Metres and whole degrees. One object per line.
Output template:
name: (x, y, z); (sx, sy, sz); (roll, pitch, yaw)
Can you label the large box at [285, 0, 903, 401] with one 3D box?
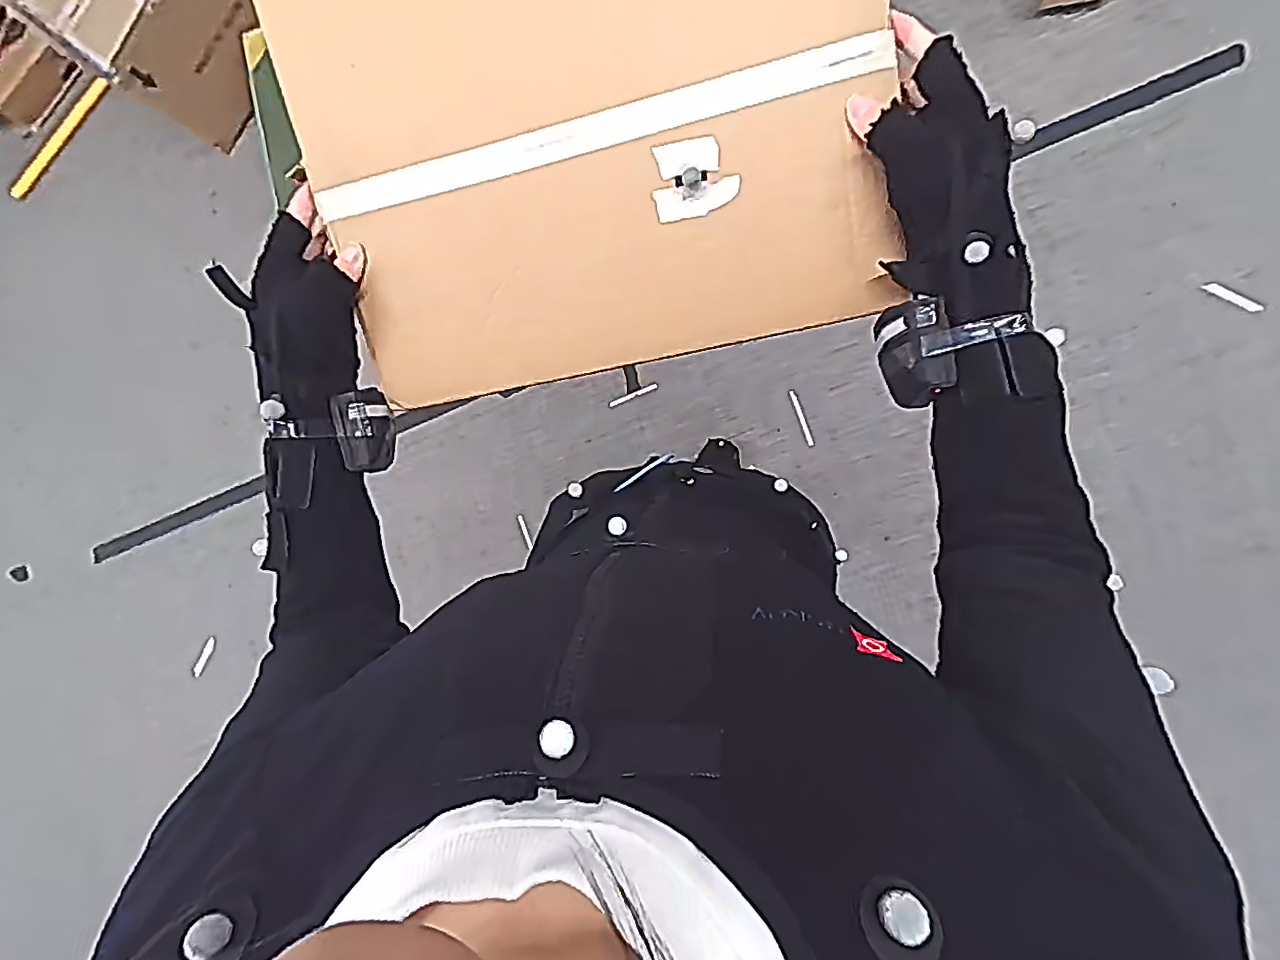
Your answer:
large box: (-0.018, -0.283, 0.530); (0.408, 0.320, 0.320); (-10, 105, 8)
